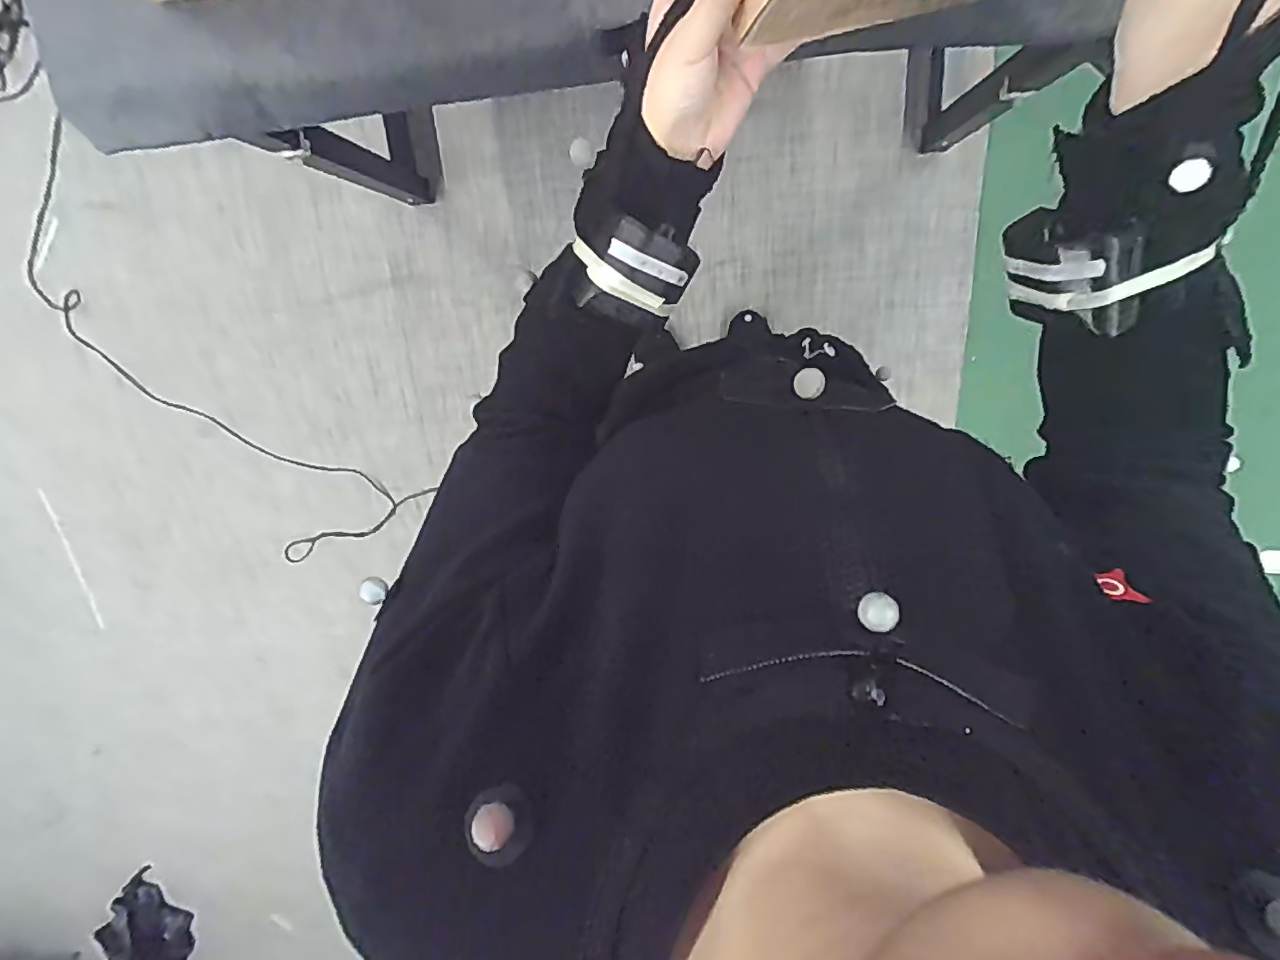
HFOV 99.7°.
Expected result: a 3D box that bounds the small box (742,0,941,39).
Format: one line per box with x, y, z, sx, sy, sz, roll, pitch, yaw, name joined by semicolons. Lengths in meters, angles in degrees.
0.119;-0.298;0.176;0.168;0.176;0.179;-16;109;-3;small box
